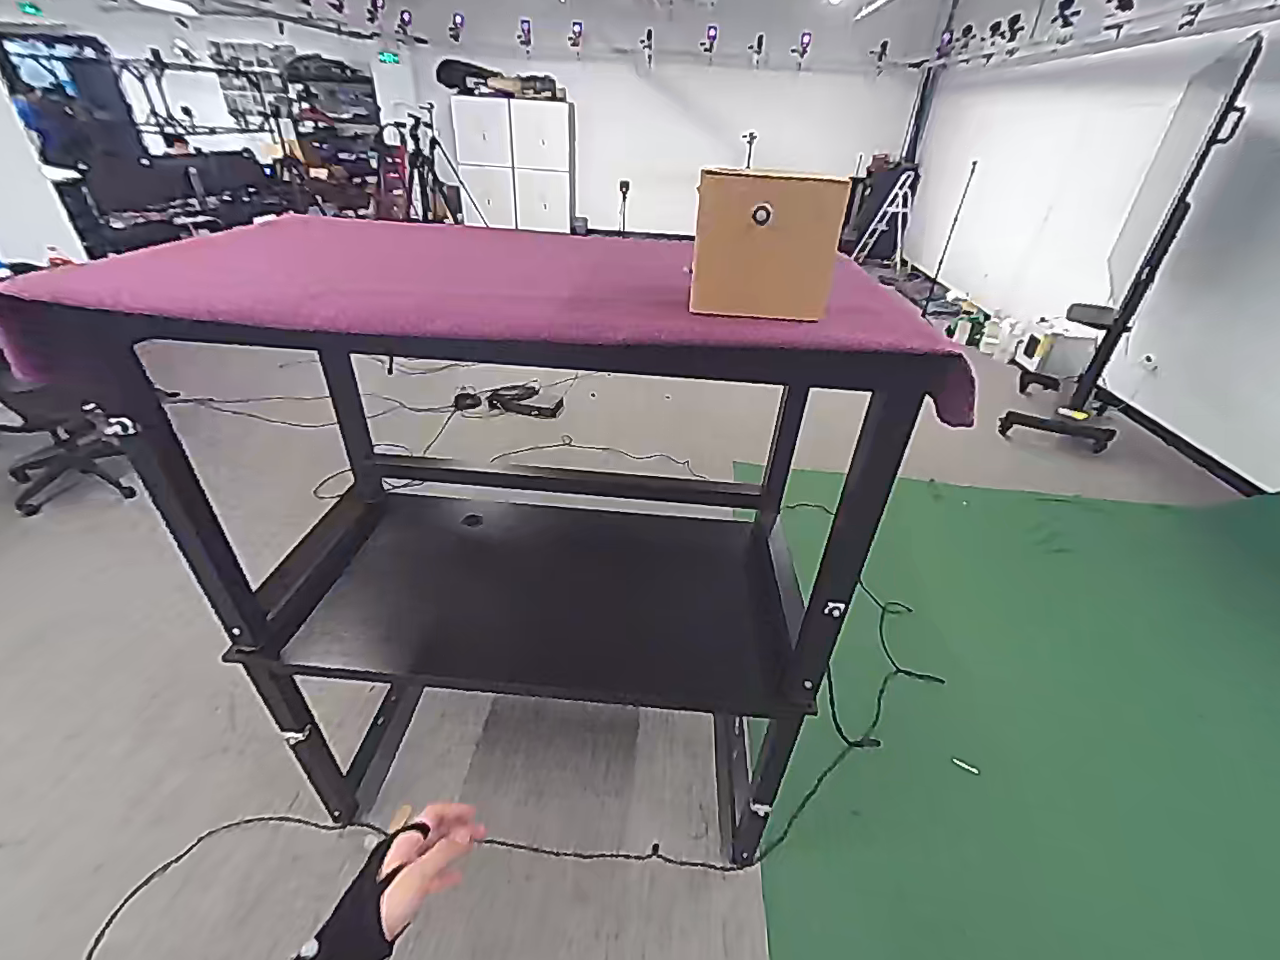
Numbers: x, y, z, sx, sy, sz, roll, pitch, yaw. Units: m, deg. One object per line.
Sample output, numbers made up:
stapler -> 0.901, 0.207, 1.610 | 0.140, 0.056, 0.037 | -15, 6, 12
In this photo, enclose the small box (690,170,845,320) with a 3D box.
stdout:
small box -> 0.163, -0.329, 0.755 | 0.179, 0.176, 0.168 | 5, 33, 2
